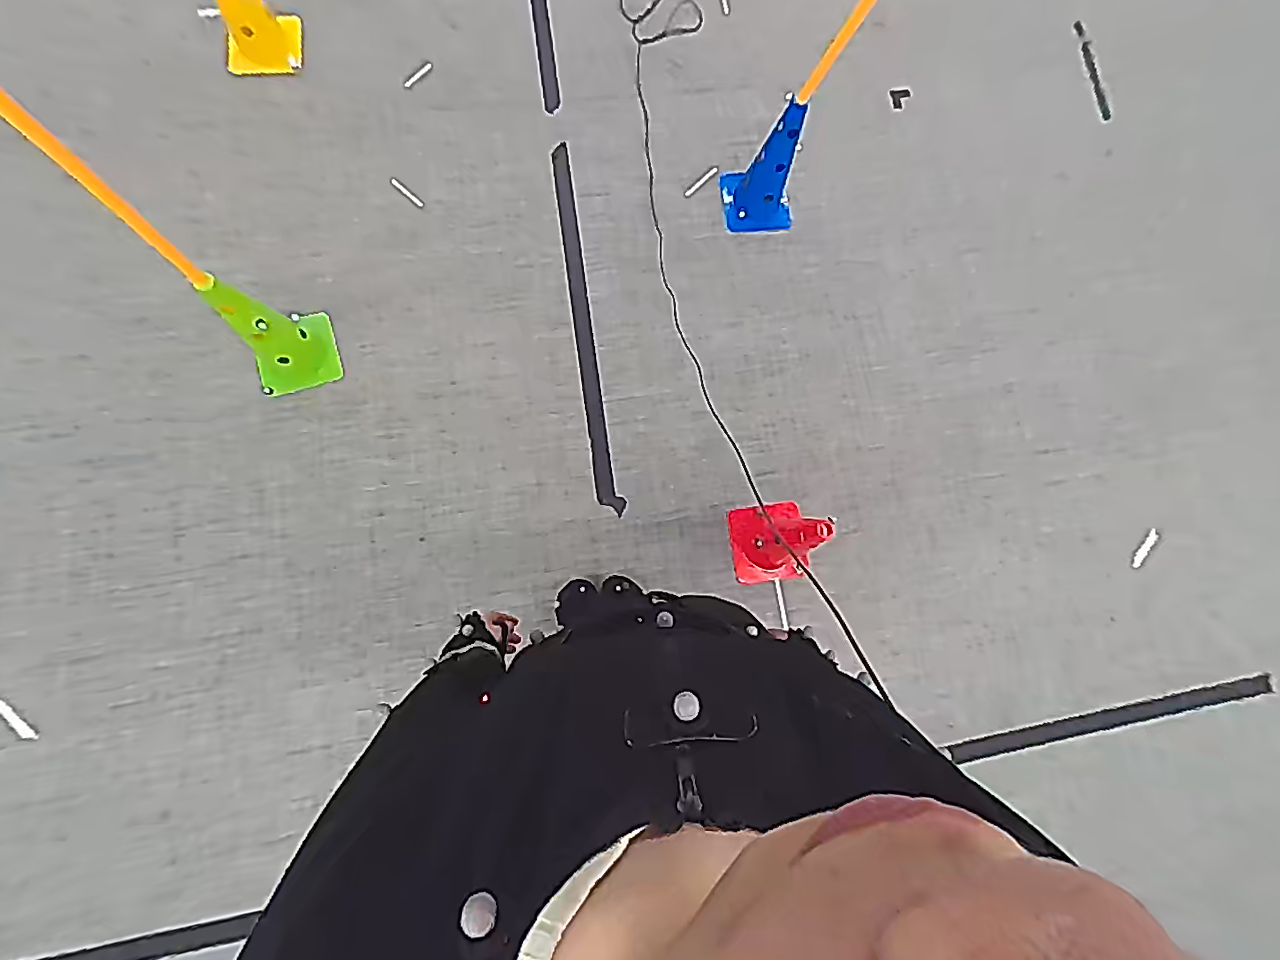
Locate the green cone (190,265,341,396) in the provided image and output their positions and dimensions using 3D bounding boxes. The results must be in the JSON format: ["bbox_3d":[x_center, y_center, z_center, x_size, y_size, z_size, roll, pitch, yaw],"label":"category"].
[{"bbox_3d":[-0.884,-0.368,1.249,0.200,0.368,0.202,-18,79,-9],"label":"green cone"}]

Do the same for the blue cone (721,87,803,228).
[{"bbox_3d":[0.361,-0.880,1.472,0.193,0.380,0.192,-5,79,-6],"label":"blue cone"}]
